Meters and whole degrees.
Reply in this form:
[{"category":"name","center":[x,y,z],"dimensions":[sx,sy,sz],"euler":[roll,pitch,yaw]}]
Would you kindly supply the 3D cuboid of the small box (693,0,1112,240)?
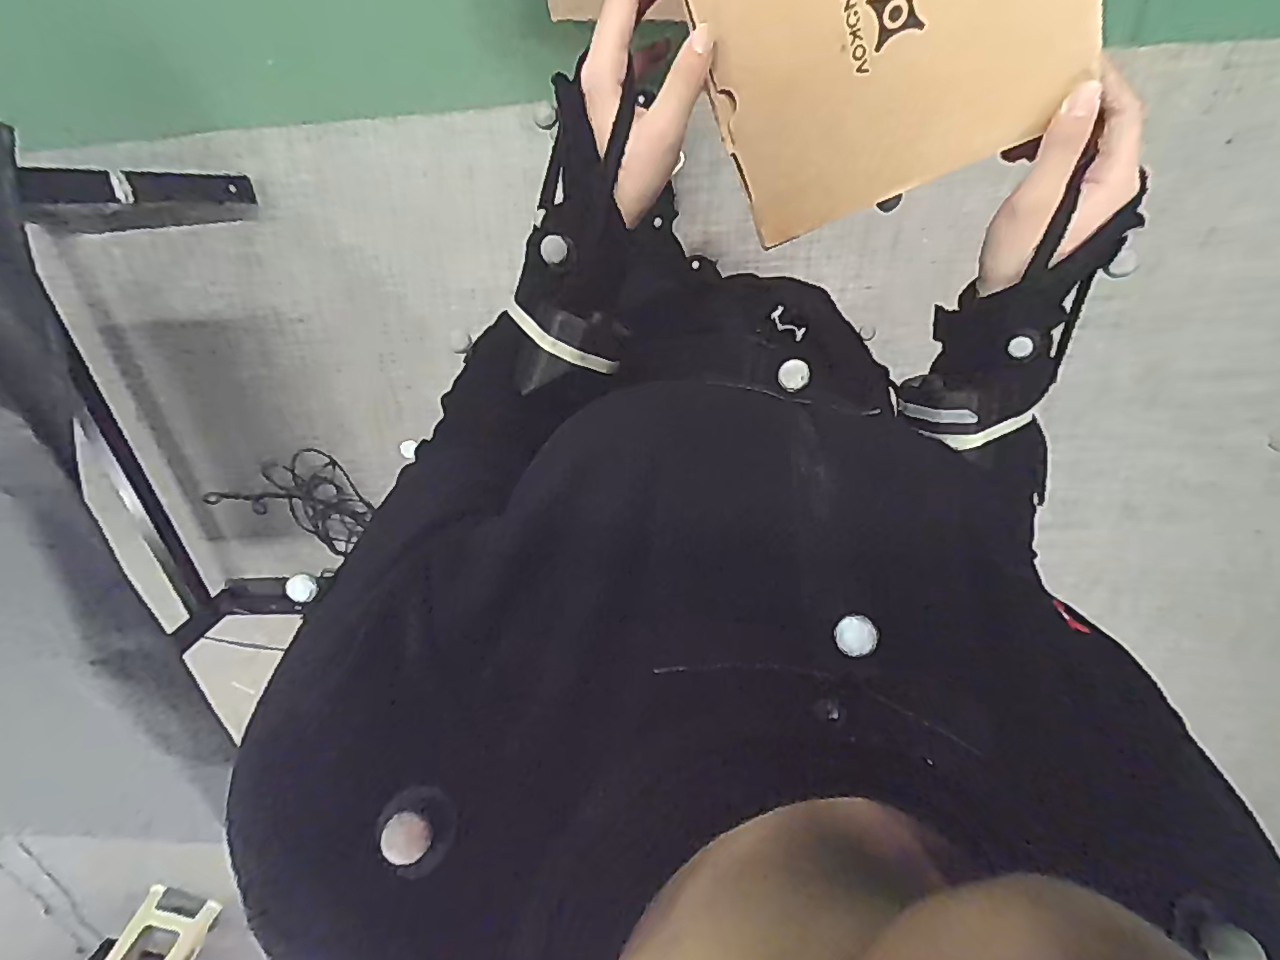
[{"category":"small box","center":[0.135,-0.279,0.320],"dimensions":[0.179,0.176,0.168],"euler":[-15,125,24]}]
